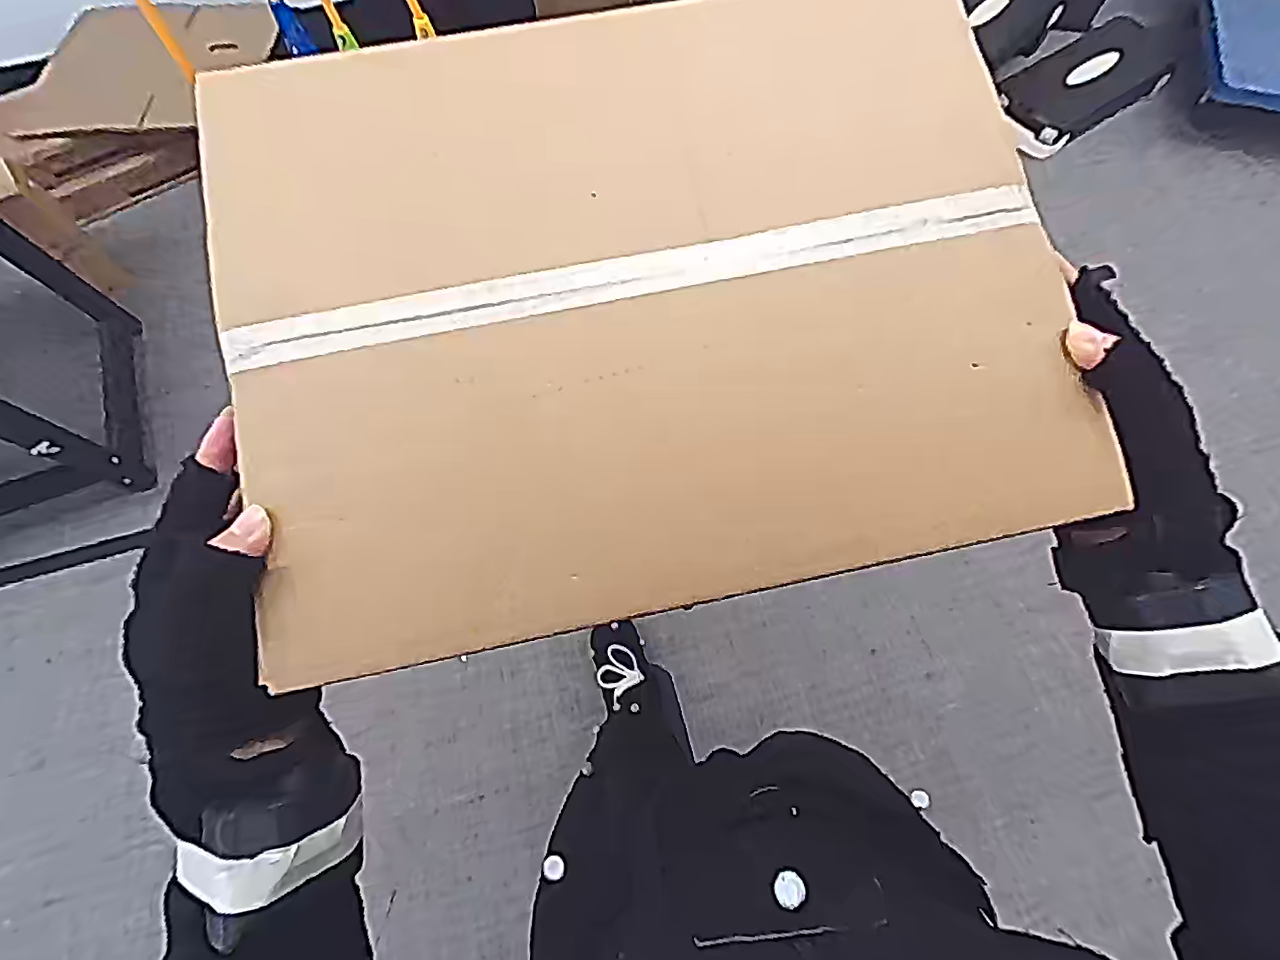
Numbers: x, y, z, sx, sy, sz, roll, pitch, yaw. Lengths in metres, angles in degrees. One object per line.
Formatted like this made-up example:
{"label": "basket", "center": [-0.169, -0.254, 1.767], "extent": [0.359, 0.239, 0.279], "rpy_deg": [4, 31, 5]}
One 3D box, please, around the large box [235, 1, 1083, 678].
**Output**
{"label": "large box", "center": [-0.003, -0.071, 0.432], "extent": [0.408, 0.320, 0.320], "rpy_deg": [-12, 82, -3]}
